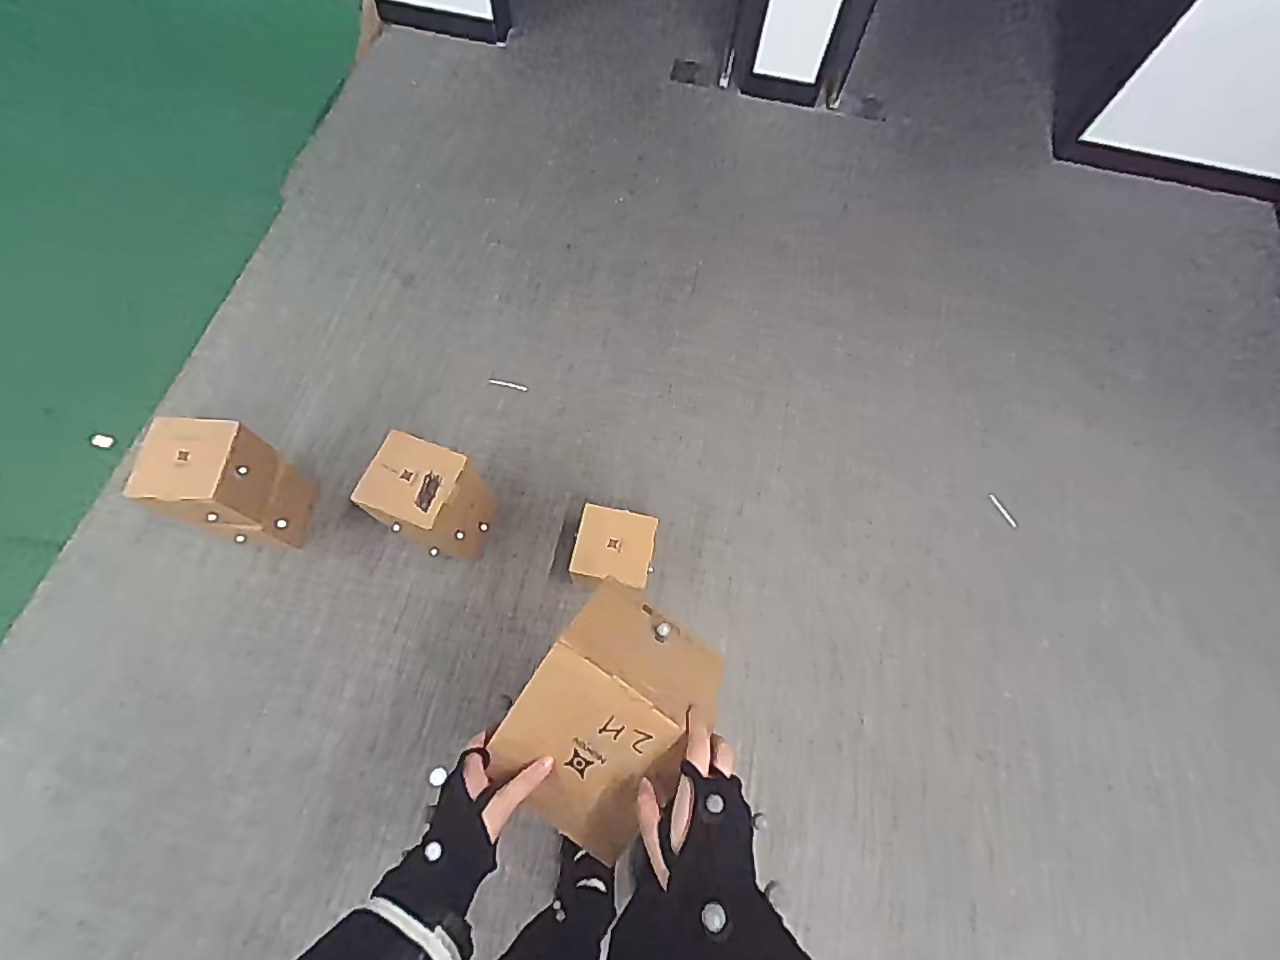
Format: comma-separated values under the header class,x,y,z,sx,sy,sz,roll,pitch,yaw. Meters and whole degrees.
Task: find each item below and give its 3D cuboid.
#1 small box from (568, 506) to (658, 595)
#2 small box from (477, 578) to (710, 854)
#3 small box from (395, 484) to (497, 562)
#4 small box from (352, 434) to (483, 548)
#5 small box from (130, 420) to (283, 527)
class,x,y,z,sx,sy,sz,roll,pitch,yaw
small box,-0.064,0.180,1.296,0.179,0.176,0.168,12,68,0
small box,-0.037,0.240,0.590,0.168,0.176,0.179,34,105,5
small box,-0.466,0.086,1.306,0.179,0.176,0.168,20,68,4
small box,-0.459,0.032,1.150,0.179,0.176,0.168,20,68,6
small box,-0.895,-0.007,1.139,0.168,0.176,0.179,4,67,-3
